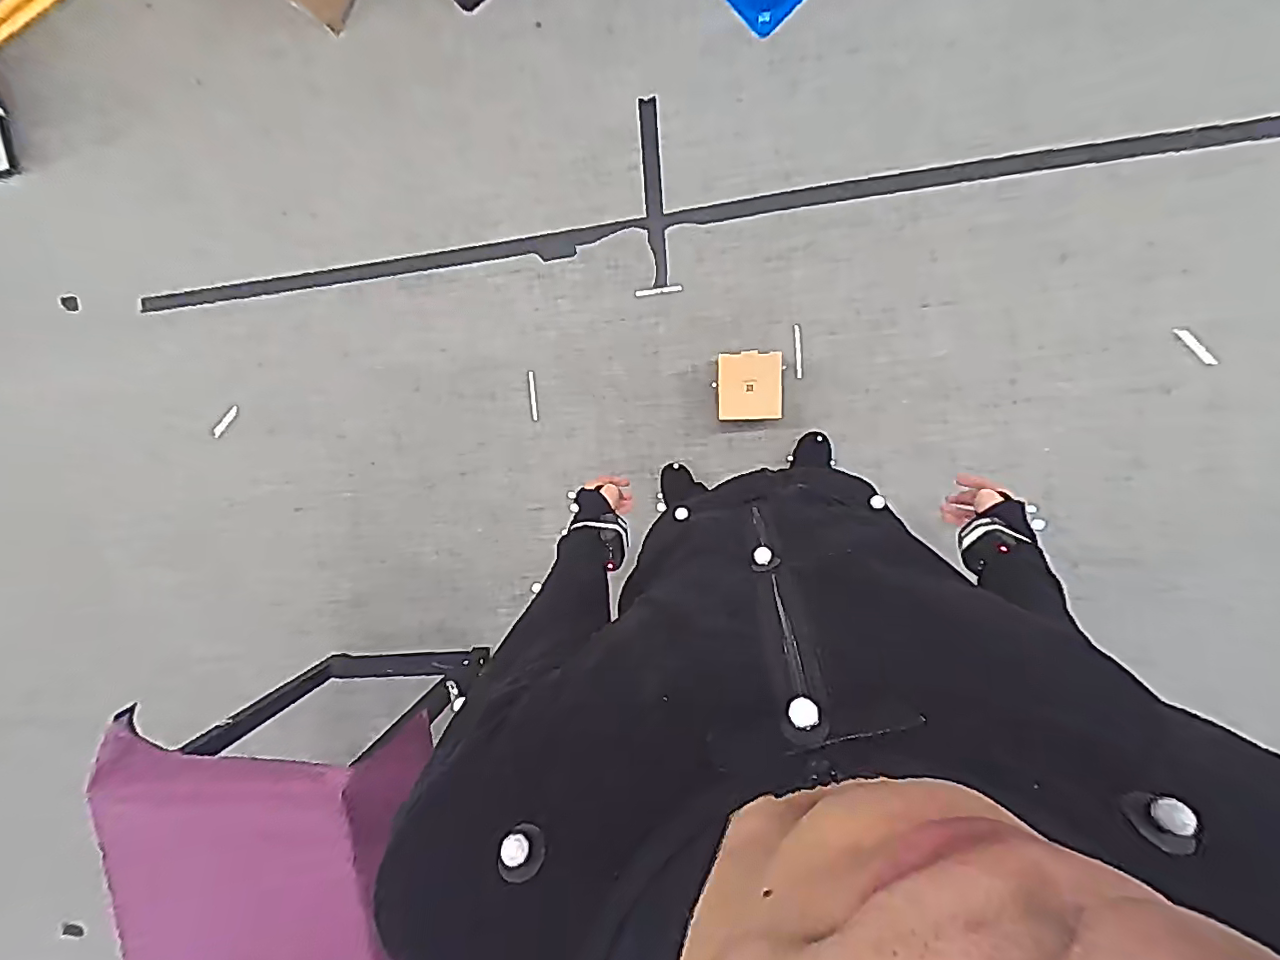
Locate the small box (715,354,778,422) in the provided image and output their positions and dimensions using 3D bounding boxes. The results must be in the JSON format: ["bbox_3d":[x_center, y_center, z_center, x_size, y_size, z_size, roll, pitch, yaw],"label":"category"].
[{"bbox_3d":[0.294,-0.252,1.508,0.168,0.176,0.179,-1,96,8],"label":"small box"}]
